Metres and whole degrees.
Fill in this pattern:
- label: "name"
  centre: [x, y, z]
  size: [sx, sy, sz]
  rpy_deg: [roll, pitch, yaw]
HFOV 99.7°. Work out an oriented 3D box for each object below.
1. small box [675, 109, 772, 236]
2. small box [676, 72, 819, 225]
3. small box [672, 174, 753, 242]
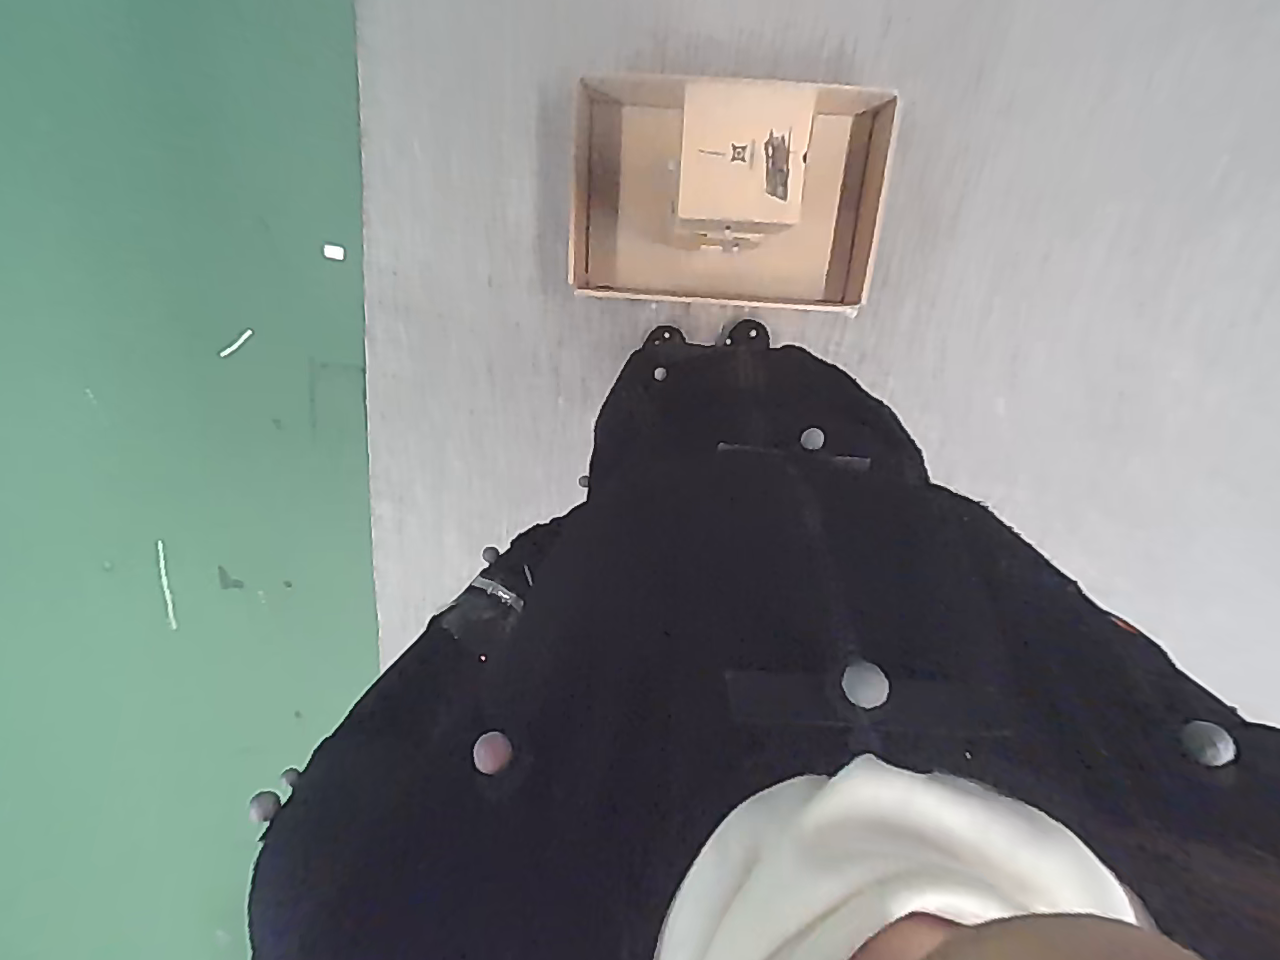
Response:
- label: "small box"
  centre: [0.150, -0.531, 0.954]
  size: [0.168, 0.176, 0.179]
  rpy_deg: [3, 111, 3]
- label: "small box"
  centre: [0.149, -0.484, 0.814]
  size: [0.179, 0.176, 0.168]
  rpy_deg: [4, 110, 2]
- label: "small box"
  centre: [0.159, -0.596, 1.121]
  size: [0.168, 0.176, 0.179]
  rpy_deg: [5, 110, 2]
